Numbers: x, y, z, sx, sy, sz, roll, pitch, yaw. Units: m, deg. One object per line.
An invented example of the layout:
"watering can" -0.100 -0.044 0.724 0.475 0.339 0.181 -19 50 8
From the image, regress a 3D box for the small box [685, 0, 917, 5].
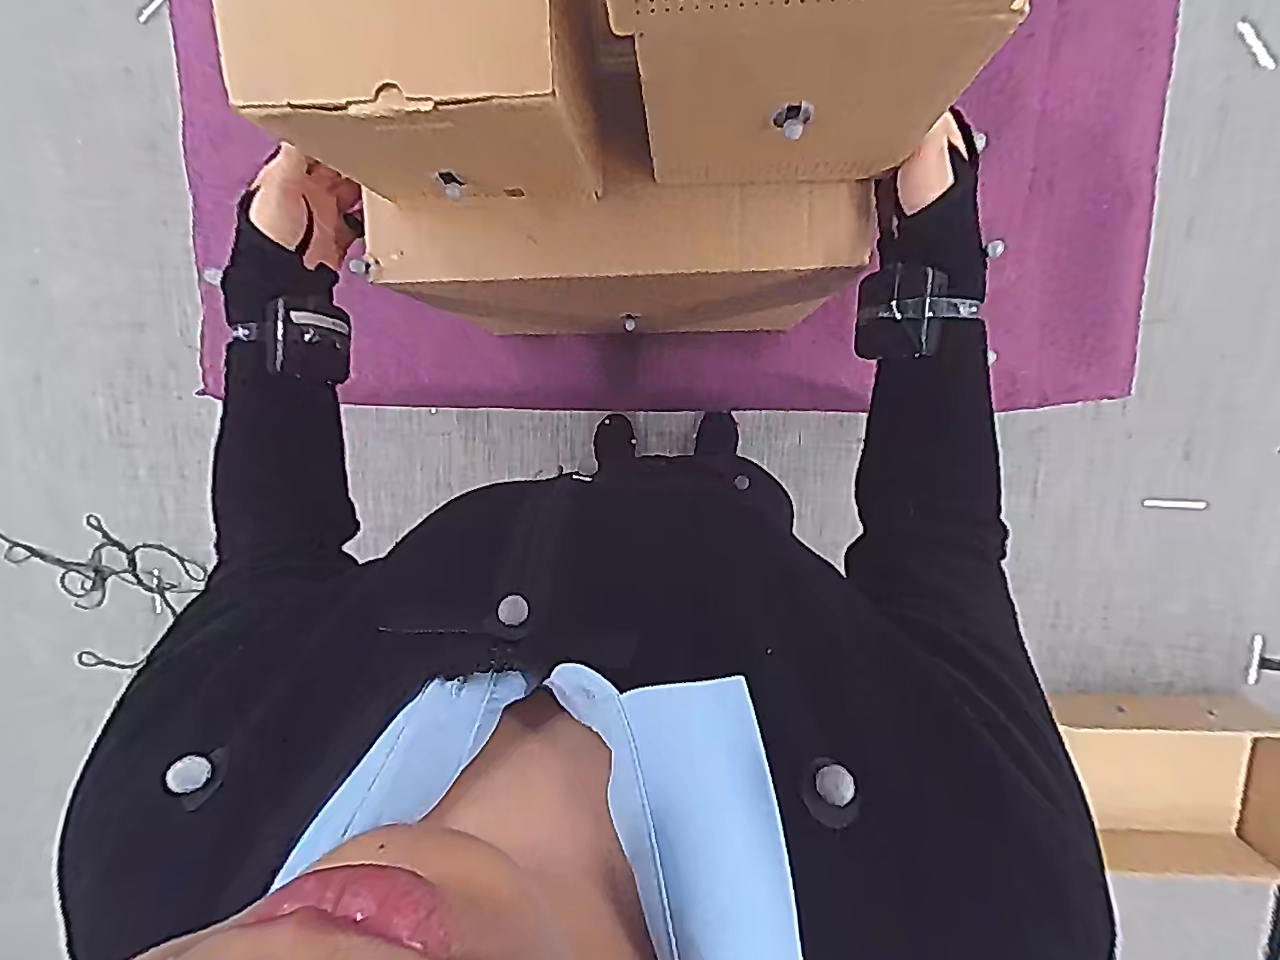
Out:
"small box" 0.067 -0.277 0.147 0.179 0.176 0.168 2 97 4

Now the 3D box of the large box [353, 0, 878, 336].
"large box" -0.011 -0.329 0.558 0.408 0.320 0.320 0 96 4
